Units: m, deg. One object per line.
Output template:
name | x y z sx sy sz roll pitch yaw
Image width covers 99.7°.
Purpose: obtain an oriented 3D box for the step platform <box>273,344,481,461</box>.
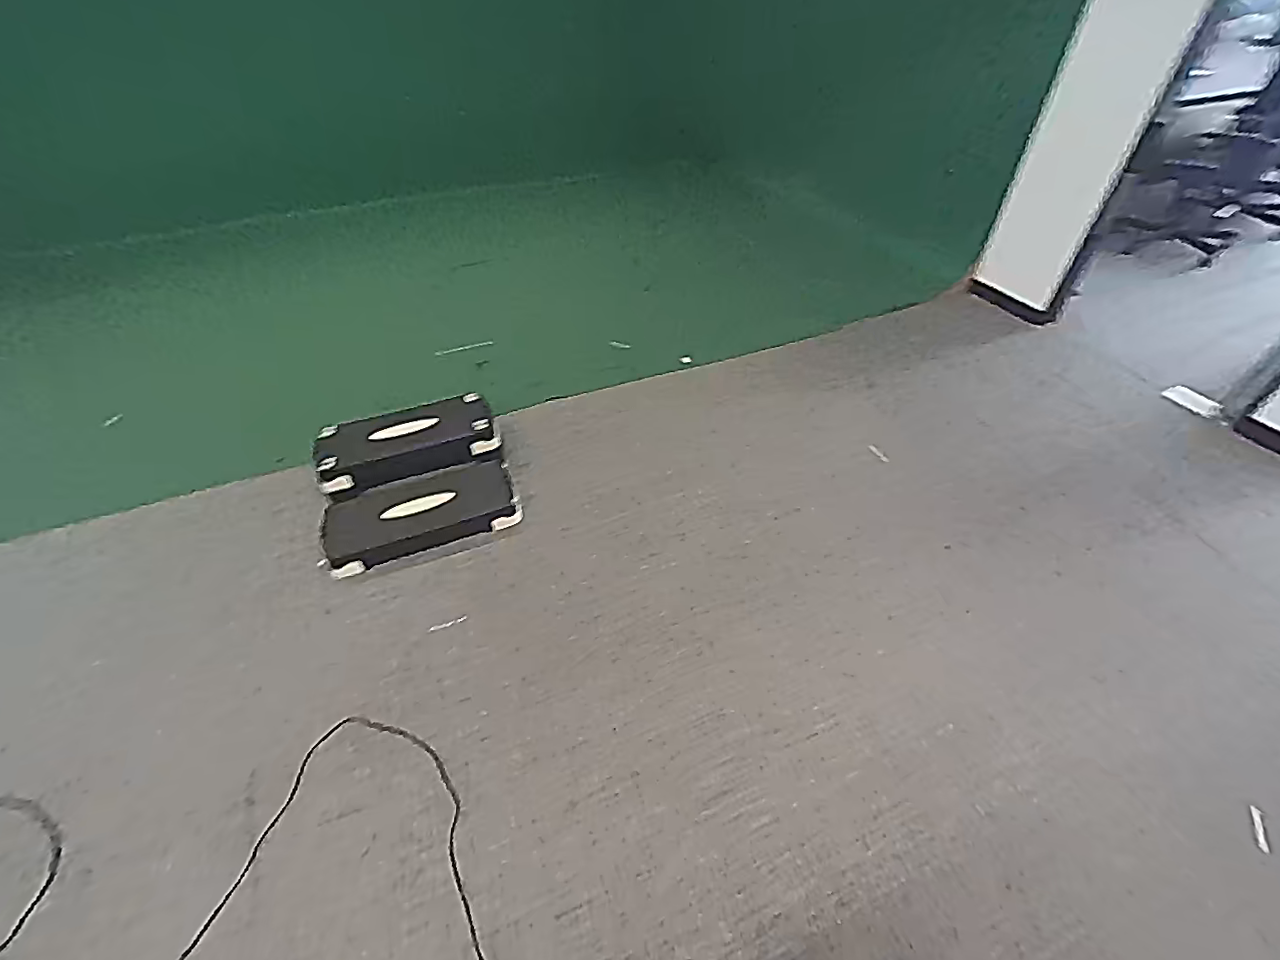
step platform | -0.956 -0.300 2.027 0.684 0.204 0.286 -17 47 -14
